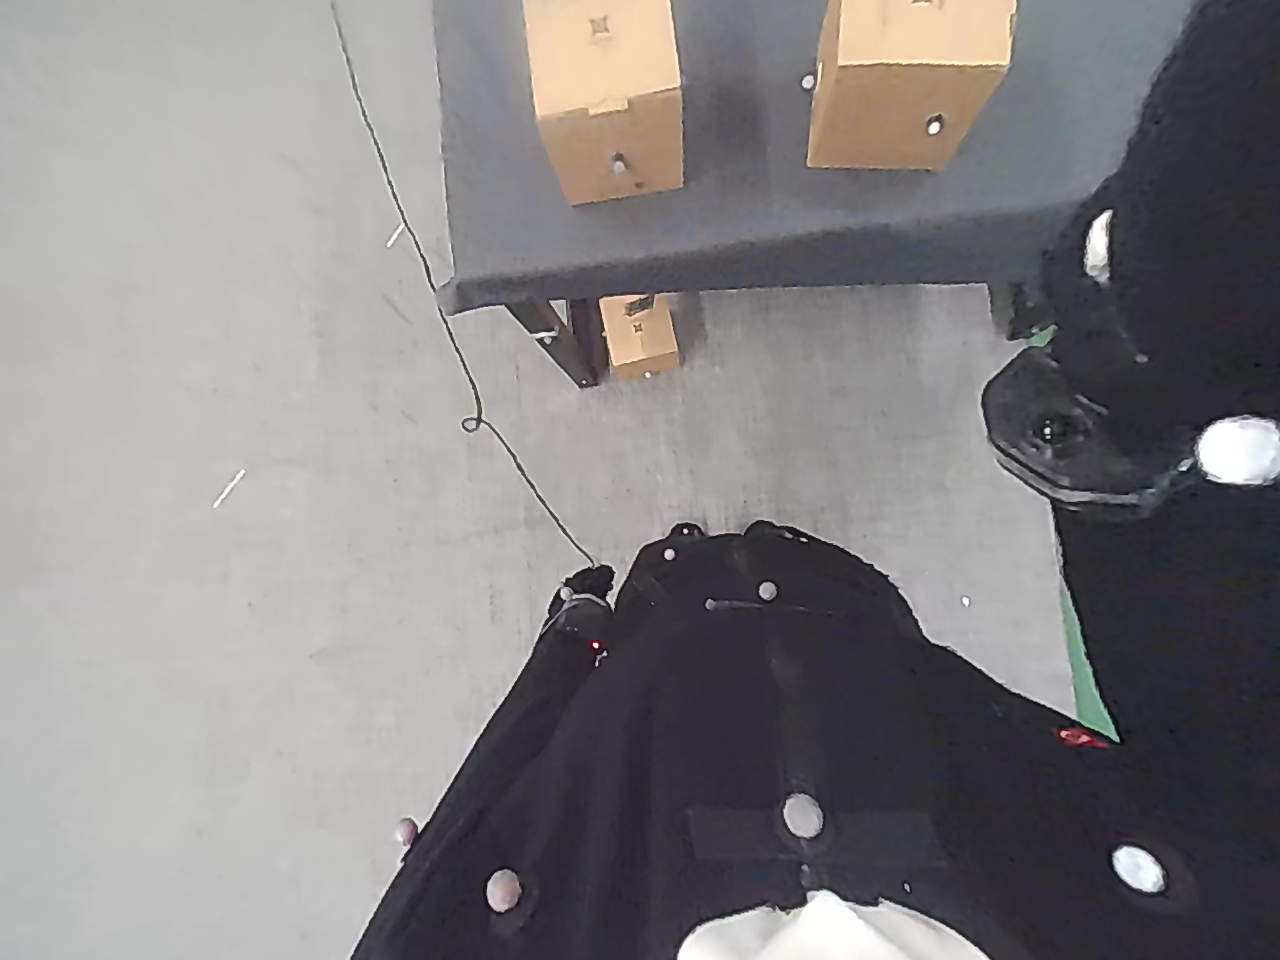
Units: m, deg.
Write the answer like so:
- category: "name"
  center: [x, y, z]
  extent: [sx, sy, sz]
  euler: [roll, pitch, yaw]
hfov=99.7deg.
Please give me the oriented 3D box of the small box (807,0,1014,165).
- category: "small box"
  center: [0.311, -0.508, 0.649]
  extent: [0.179, 0.176, 0.168]
  euler: [4, 85, 7]

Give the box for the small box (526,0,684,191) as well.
- category: "small box"
  center: [-0.035, -0.492, 0.679]
  extent: [0.168, 0.176, 0.179]
  euler: [-7, 85, 4]
